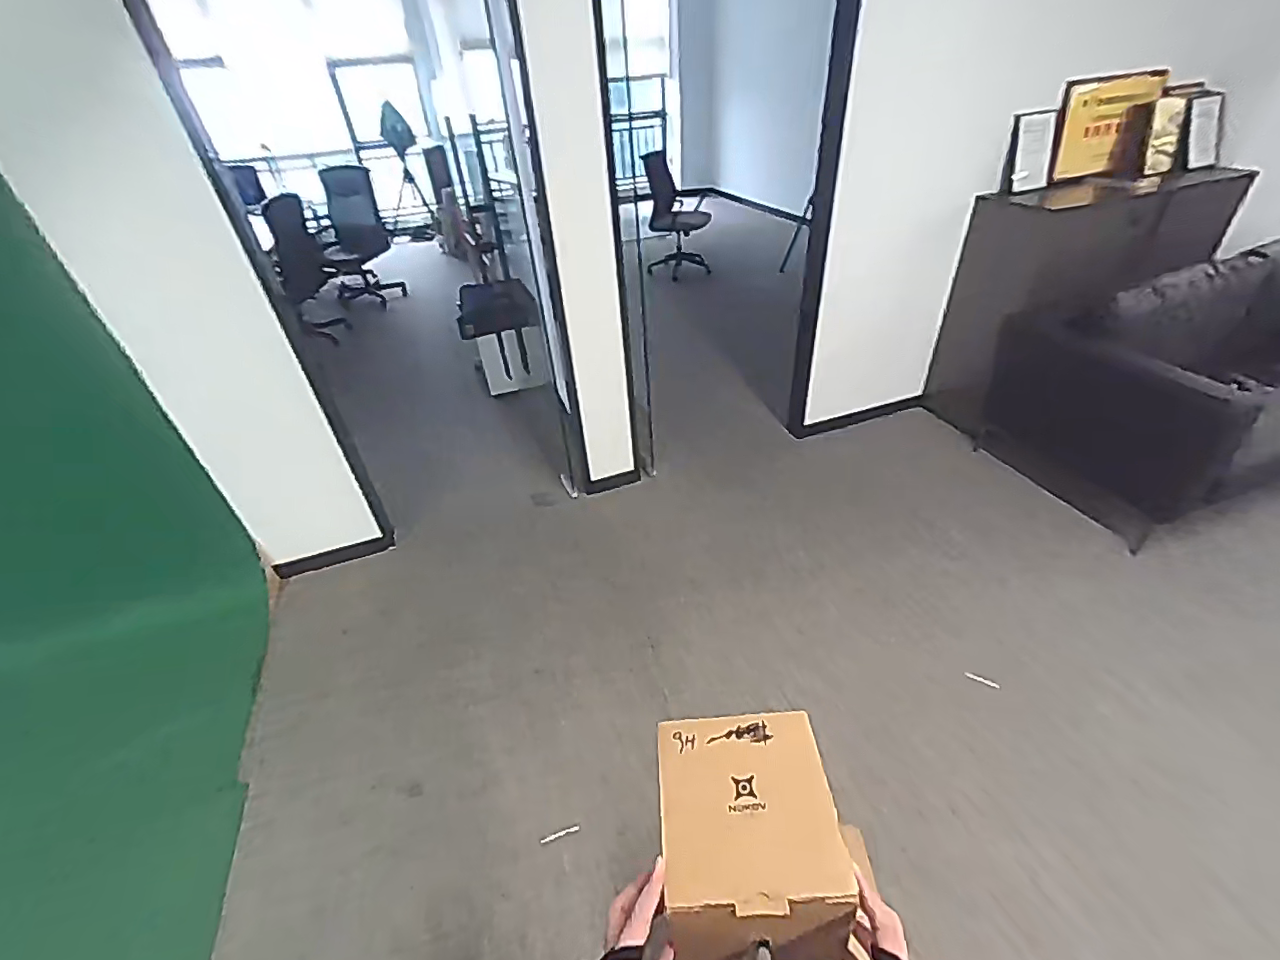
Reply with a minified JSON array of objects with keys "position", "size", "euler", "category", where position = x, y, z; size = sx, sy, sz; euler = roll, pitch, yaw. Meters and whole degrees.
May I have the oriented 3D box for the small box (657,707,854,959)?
[{"position":[0.109,0.367,0.564],"size":[0.168,0.176,0.179],"euler":[-5,34,4],"category":"small box"}]
